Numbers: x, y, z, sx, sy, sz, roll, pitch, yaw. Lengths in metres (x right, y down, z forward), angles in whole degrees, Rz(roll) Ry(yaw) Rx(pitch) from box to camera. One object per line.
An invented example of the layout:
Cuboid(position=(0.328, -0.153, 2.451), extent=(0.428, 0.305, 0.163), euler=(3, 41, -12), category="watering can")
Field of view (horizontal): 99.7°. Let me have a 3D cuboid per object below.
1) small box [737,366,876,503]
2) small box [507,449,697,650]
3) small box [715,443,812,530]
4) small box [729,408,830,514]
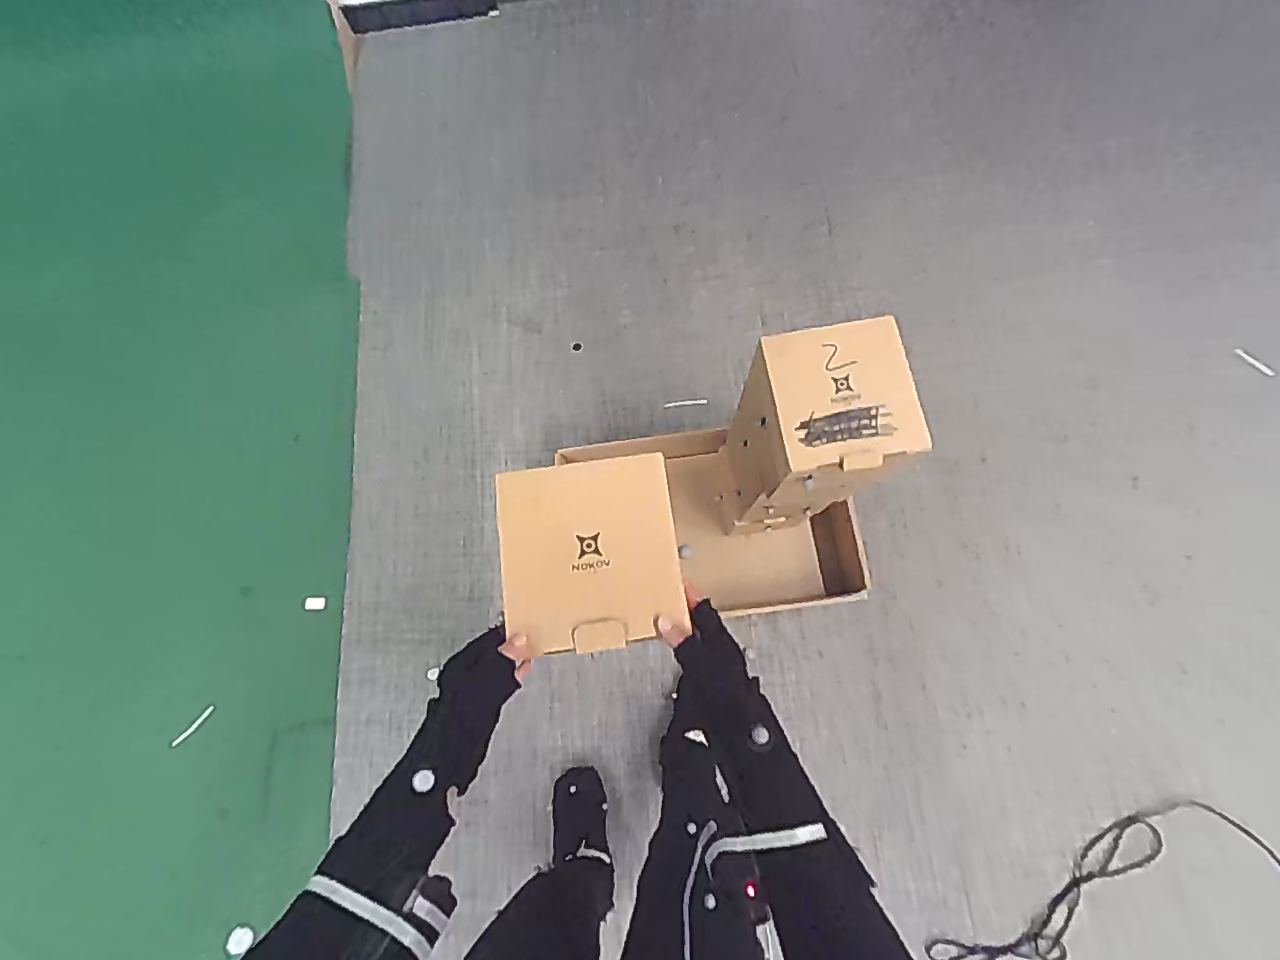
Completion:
Cuboid(position=(0.256, -0.063, 0.873), extent=(0.168, 0.176, 0.179), euler=(-6, 76, 2), category="small box")
Cuboid(position=(-0.041, 0.081, 0.582), extent=(0.168, 0.176, 0.179), euler=(-7, 76, -3), category="small box")
Cuboid(position=(0.264, 0.010, 1.194), extent=(0.168, 0.176, 0.179), euler=(-12, 75, 2), category="small box")
Cuboid(position=(0.266, -0.035, 1.017), extent=(0.168, 0.176, 0.179), euler=(-7, 76, 2), category="small box")
